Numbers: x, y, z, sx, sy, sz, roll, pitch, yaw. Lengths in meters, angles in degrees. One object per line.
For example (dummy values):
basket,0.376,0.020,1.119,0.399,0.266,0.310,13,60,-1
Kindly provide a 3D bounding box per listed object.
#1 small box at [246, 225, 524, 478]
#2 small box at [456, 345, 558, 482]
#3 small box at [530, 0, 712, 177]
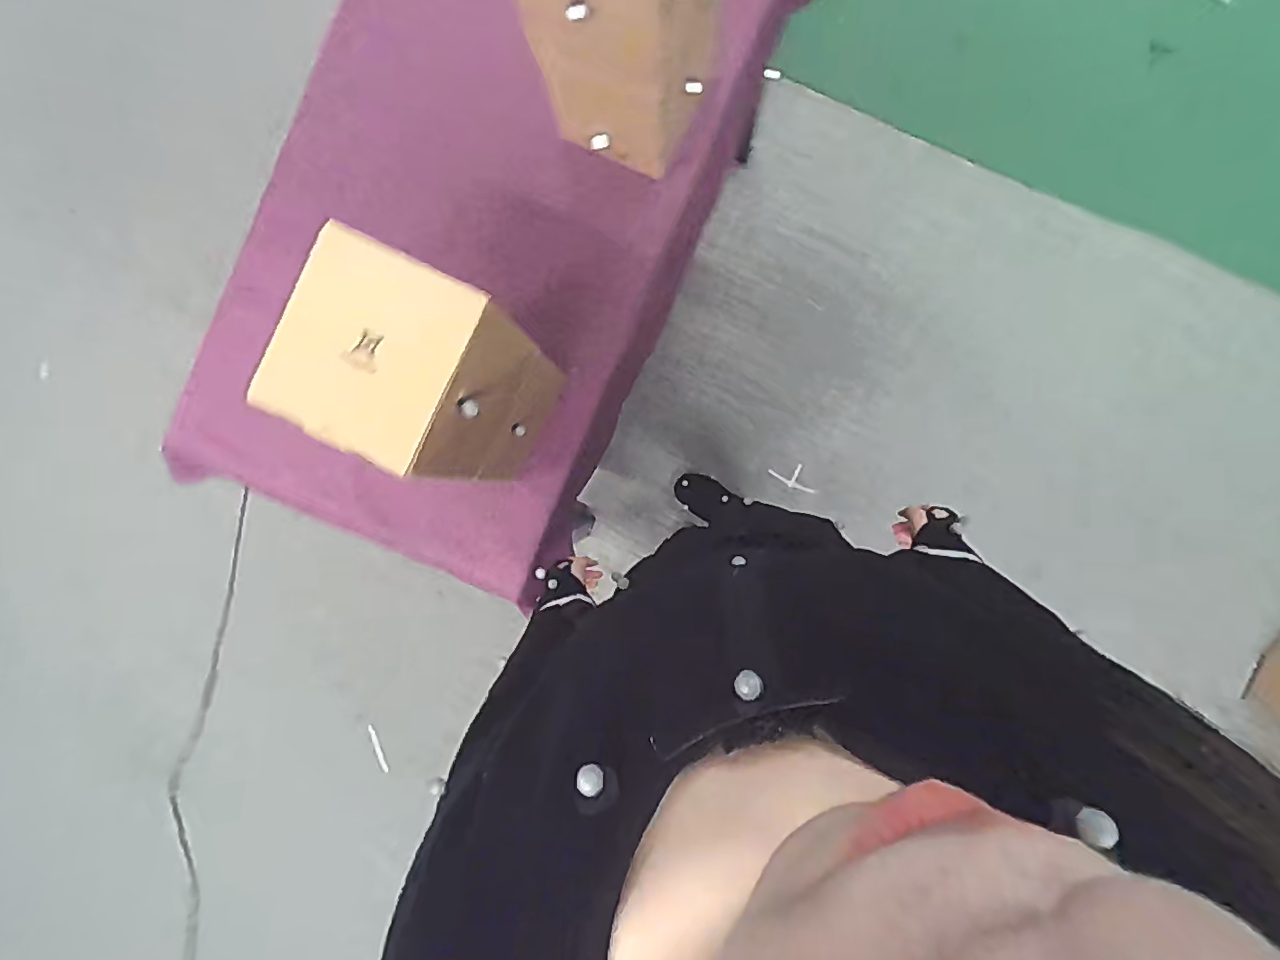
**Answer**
small box,-0.237,-0.114,0.553,0.168,0.176,0.179,25,92,4
small box,-0.226,-0.107,0.716,0.168,0.176,0.179,26,91,4
small box,-0.017,-0.547,0.708,0.168,0.176,0.179,25,92,4
